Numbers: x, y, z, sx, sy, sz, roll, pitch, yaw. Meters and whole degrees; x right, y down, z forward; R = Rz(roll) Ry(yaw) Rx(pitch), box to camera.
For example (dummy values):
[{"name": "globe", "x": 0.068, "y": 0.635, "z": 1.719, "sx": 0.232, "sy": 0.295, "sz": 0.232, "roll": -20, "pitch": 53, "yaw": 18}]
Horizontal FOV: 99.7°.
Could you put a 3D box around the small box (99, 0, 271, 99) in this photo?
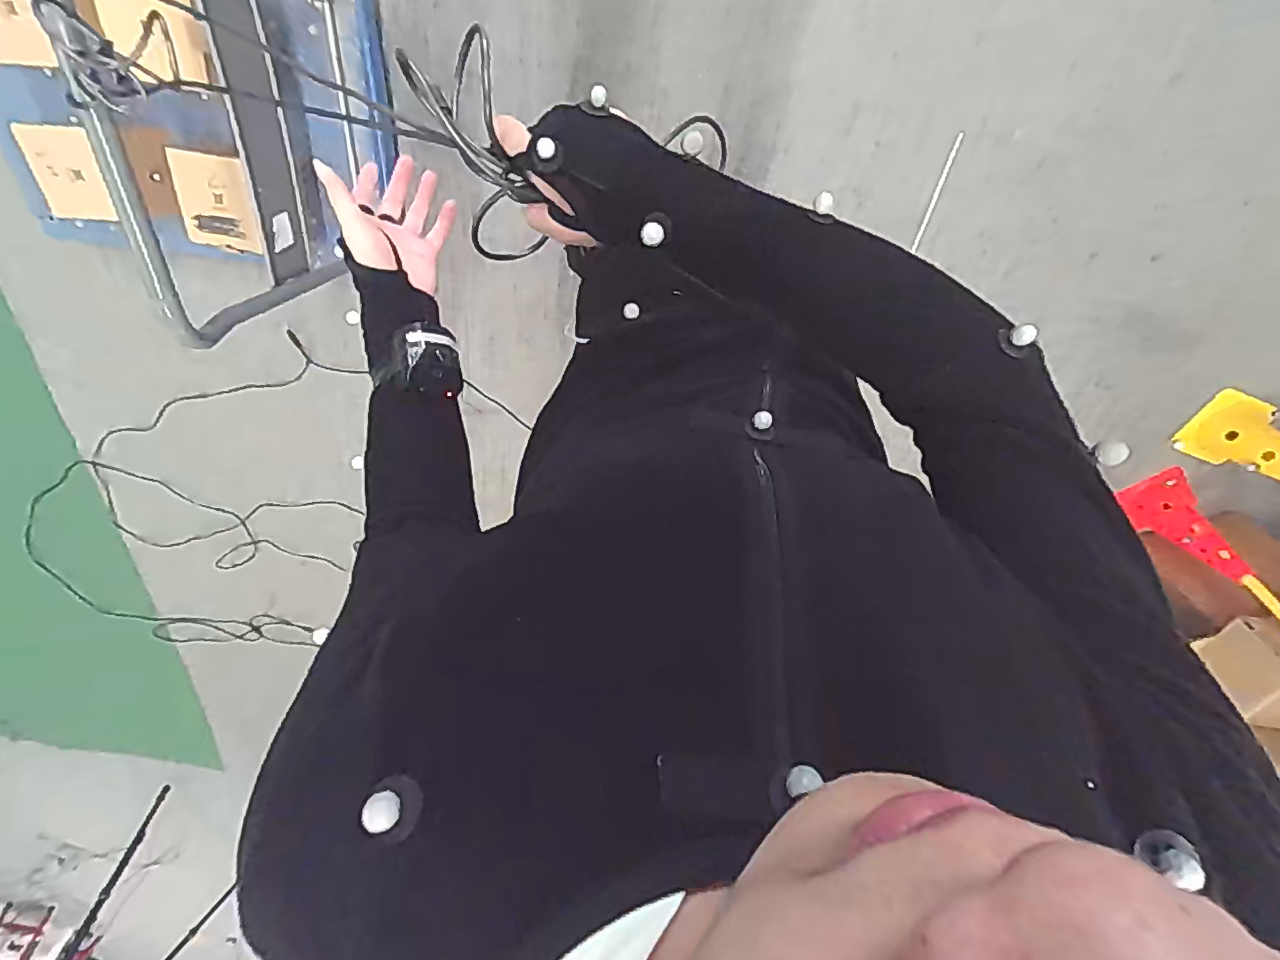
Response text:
[{"name": "small box", "x": -0.848, "y": -0.832, "z": 1.017, "sx": 0.179, "sy": 0.176, "sz": 0.168, "roll": 8, "pitch": 123, "yaw": -2}]

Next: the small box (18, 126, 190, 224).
[{"name": "small box", "x": -1.117, "y": -0.652, "z": 1.152, "sx": 0.179, "sy": 0.176, "sz": 0.168, "roll": 4, "pitch": 122, "yaw": 1}]

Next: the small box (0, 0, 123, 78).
[{"name": "small box", "x": -1.091, "y": -0.865, "z": 1.012, "sx": 0.179, "sy": 0.176, "sz": 0.168, "roll": 5, "pitch": 124, "yaw": 0}]
